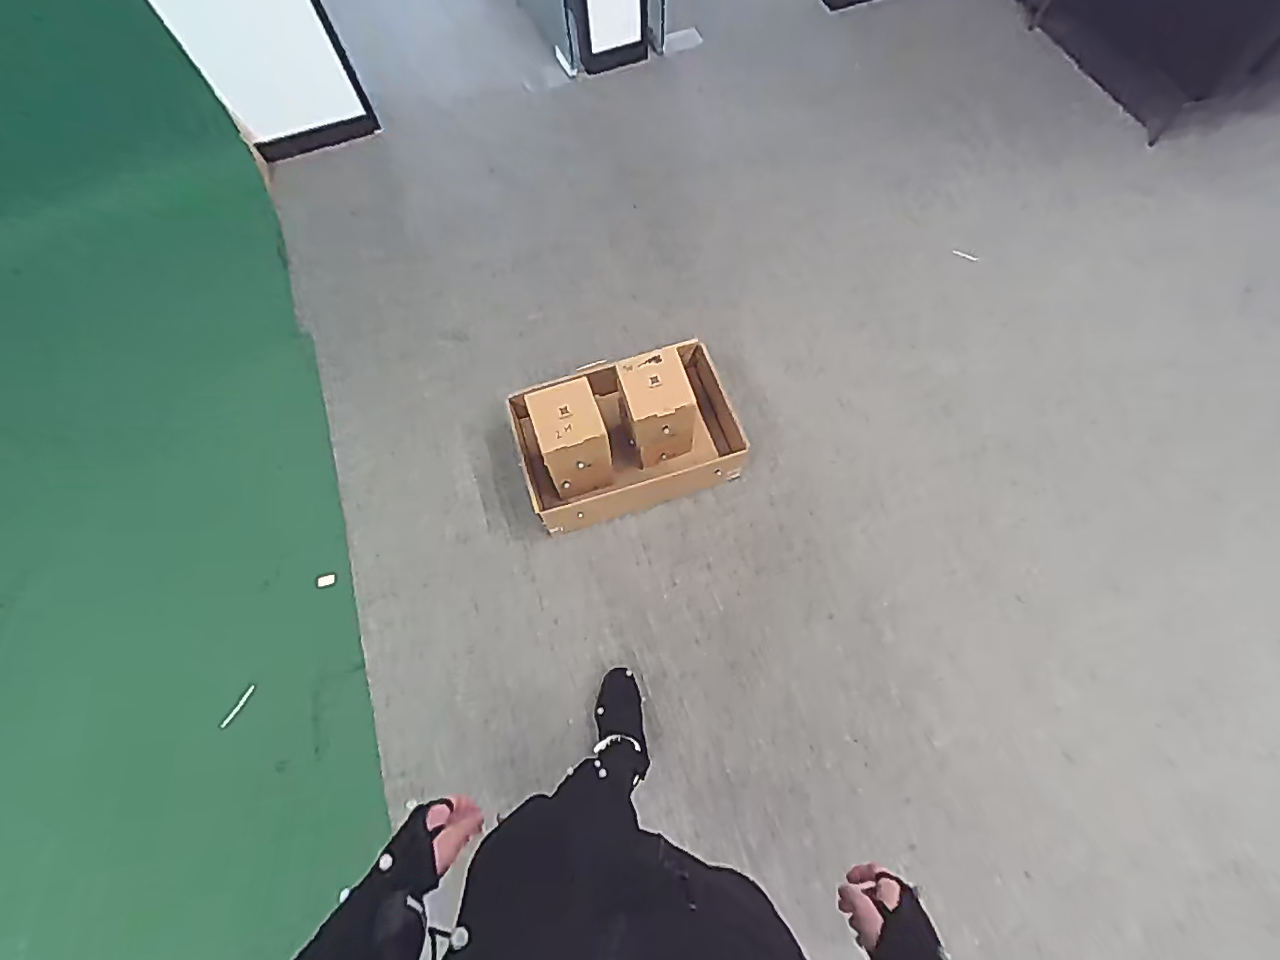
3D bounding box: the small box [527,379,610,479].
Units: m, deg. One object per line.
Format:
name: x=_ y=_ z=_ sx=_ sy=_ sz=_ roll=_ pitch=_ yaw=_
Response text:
small box: x=-0.180 y=-0.128 z=1.400 sx=0.168 sy=0.176 sz=0.179 roll=-18 pitch=69 yaw=-6
